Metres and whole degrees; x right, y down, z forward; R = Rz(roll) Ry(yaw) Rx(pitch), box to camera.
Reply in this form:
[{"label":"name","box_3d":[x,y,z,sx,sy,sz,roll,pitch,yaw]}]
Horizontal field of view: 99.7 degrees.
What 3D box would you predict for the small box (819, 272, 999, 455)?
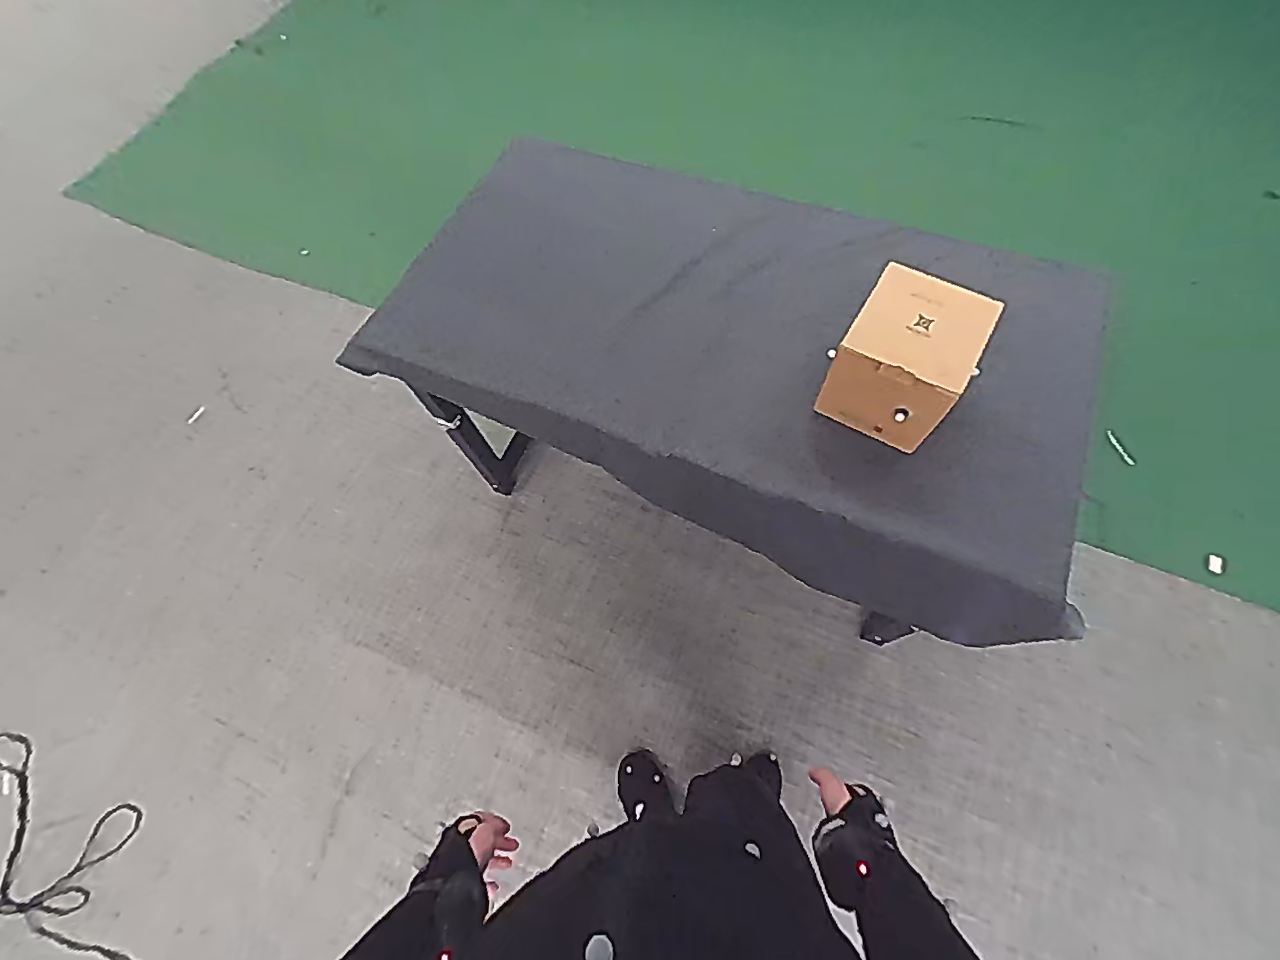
[{"label":"small box","box_3d":[0.389,-0.168,0.815,0.168,0.176,0.179,29,69,15]}]
